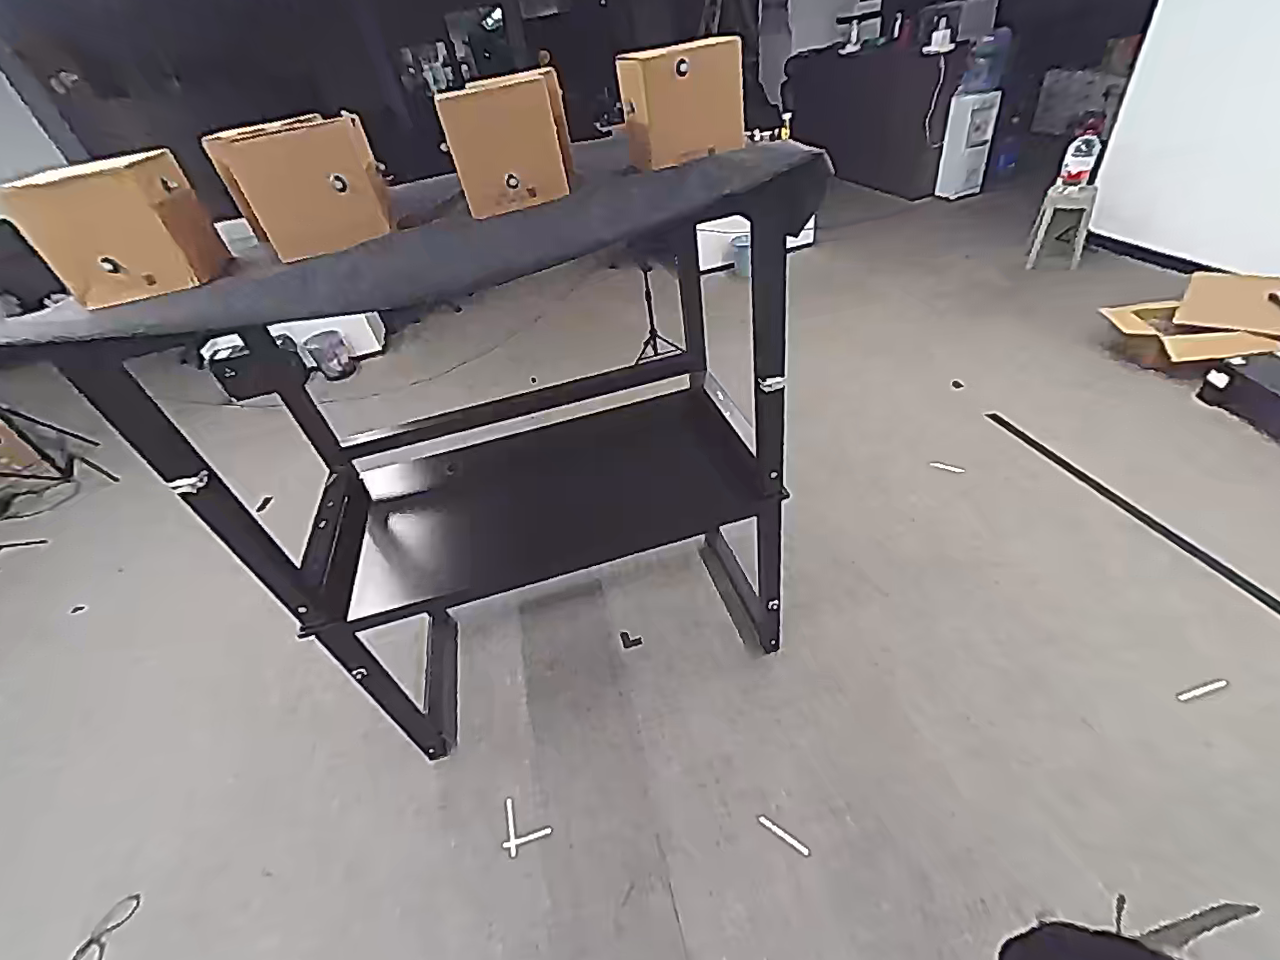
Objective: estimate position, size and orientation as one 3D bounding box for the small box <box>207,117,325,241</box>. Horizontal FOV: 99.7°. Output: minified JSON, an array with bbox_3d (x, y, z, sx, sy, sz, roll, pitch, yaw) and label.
[{"bbox_3d":[-0.664,-0.574,1.037,0.168,0.176,0.179,-15,39,-5],"label":"small box"}]

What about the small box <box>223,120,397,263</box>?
[{"bbox_3d":[-0.512,-0.468,0.874,0.179,0.176,0.168,-16,37,-9],"label":"small box"}]

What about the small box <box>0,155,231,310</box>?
[{"bbox_3d":[-0.779,-0.383,0.833,0.168,0.176,0.179,-18,40,-9],"label":"small box"}]

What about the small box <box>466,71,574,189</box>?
[{"bbox_3d":[-0.237,-0.698,1.082,0.168,0.176,0.179,-15,39,-4],"label":"small box"}]
